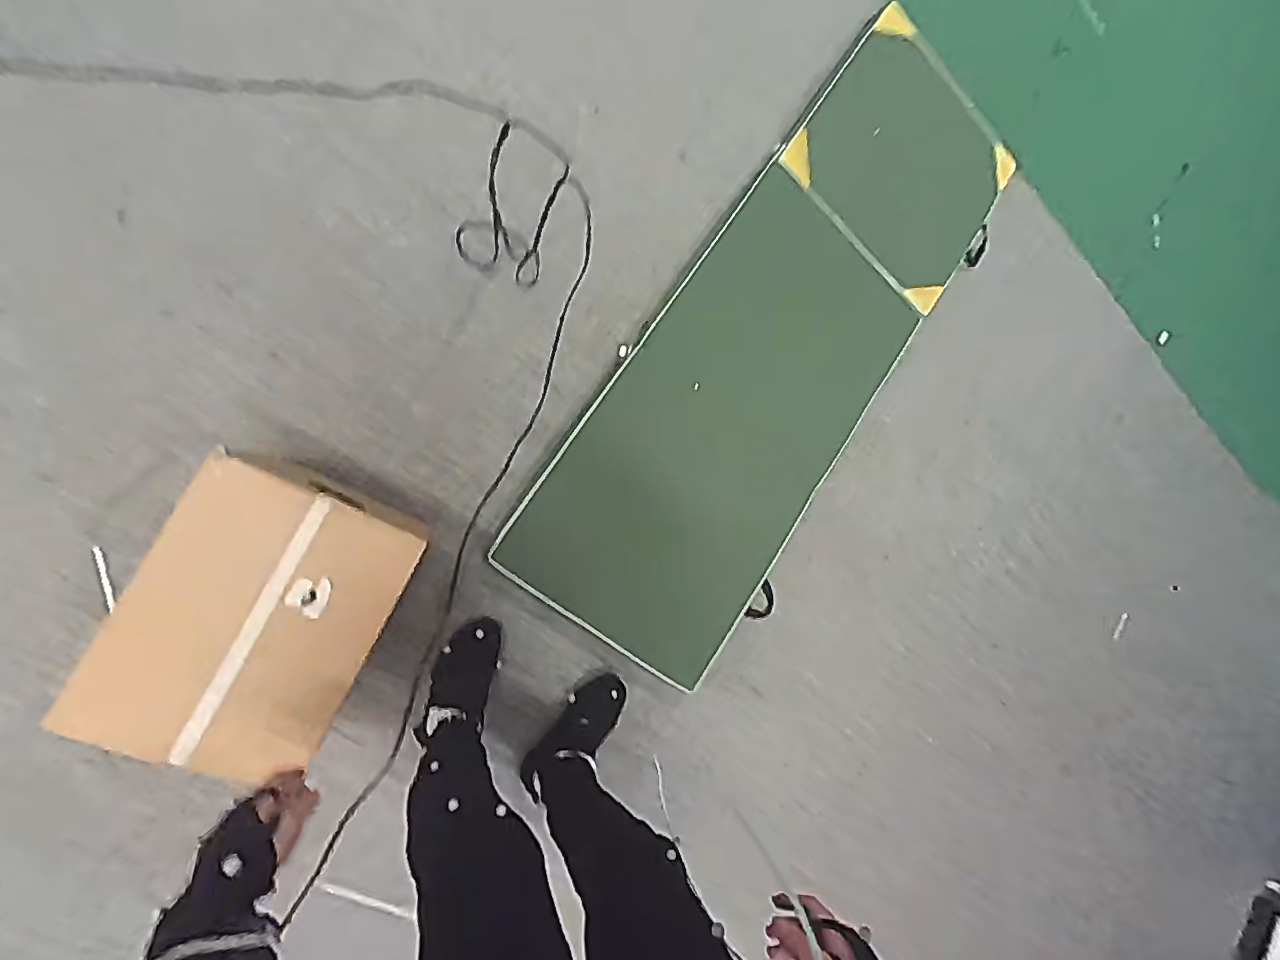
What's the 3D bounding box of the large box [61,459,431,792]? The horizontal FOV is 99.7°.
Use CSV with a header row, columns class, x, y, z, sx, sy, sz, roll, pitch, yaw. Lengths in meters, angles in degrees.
class,x,y,z,sx,sy,sz,roll,pitch,yaw
large box,-0.595,0.217,0.914,0.320,0.320,0.408,28,80,-18
